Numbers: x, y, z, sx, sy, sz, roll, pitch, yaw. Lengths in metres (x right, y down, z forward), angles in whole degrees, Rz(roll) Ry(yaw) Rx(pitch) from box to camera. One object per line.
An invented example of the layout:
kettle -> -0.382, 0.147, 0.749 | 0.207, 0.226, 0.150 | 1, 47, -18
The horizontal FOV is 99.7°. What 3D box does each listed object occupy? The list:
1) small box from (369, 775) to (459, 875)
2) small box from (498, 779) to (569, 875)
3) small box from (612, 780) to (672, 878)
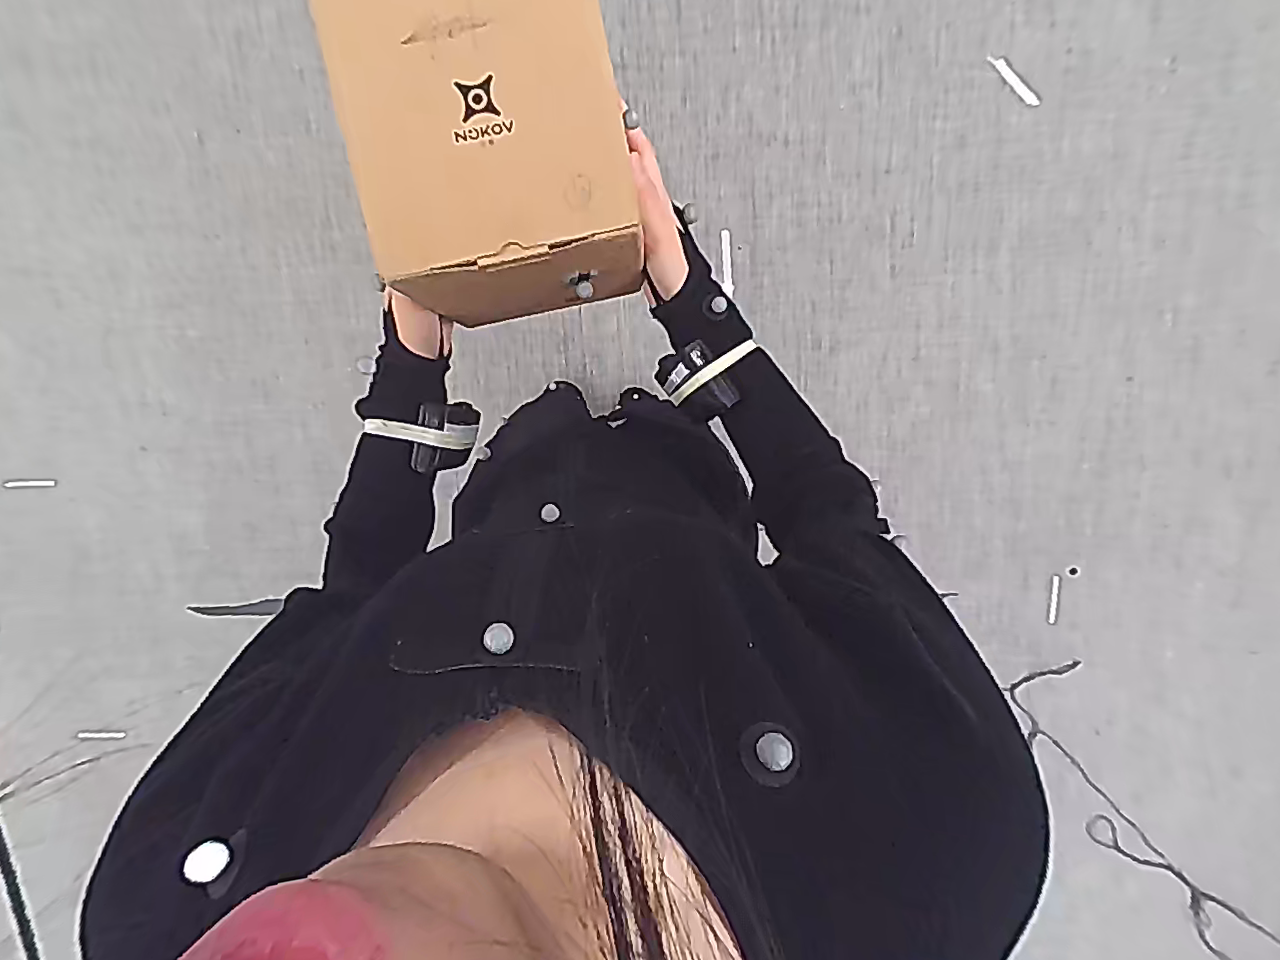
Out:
small box -> -0.663, 1.010, 1.600 | 0.179, 0.176, 0.168 | 15, 99, -2
small box -> -0.306, 1.014, 1.585 | 0.168, 0.176, 0.179 | -3, 99, 2
small box -> 0.010, 1.012, 1.574 | 0.168, 0.176, 0.179 | -1, 100, 2
